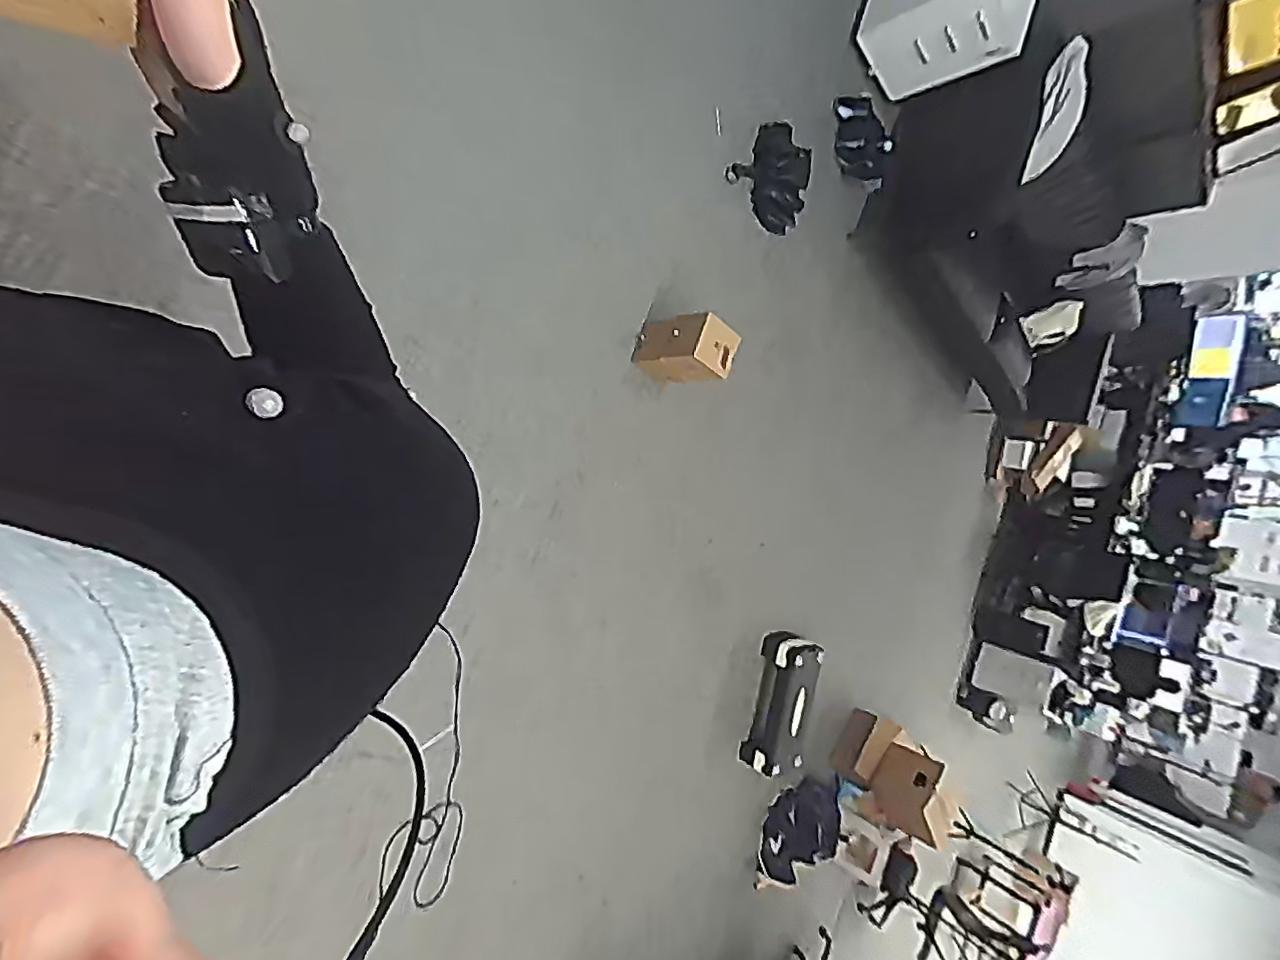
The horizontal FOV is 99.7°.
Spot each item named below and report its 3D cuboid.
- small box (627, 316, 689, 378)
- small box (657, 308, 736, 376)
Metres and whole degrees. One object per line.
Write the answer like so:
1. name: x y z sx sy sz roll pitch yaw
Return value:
1. small box: 0.087 -0.484 1.979 0.179 0.176 0.168 23 82 -40
2. small box: 0.193 -0.469 1.853 0.179 0.176 0.168 26 81 -40
